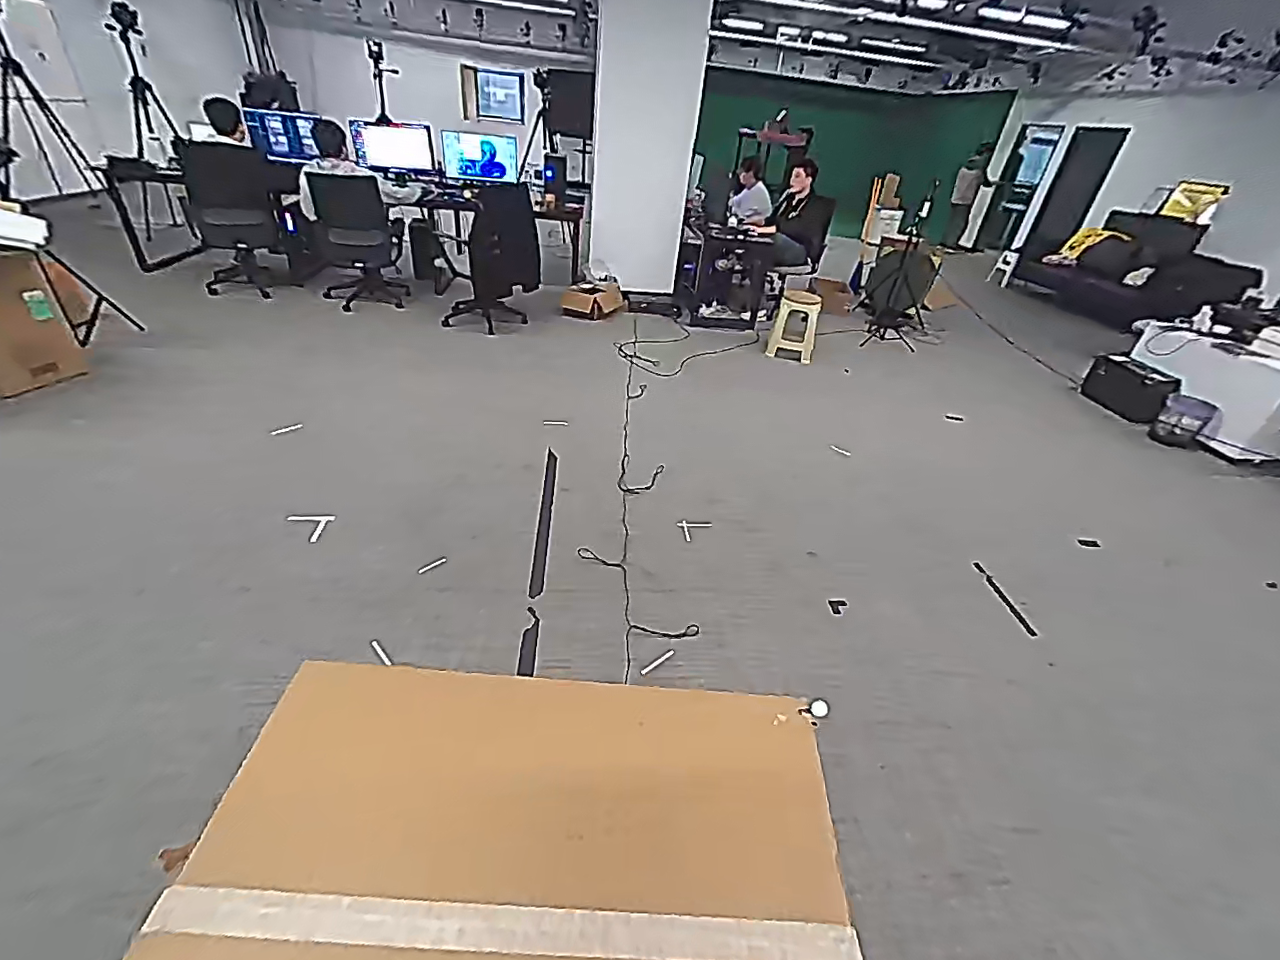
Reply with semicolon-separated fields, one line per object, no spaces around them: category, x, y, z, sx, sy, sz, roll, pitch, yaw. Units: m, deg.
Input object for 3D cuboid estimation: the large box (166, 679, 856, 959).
large box;-0.080;0.385;0.418;0.408;0.320;0.320;5;42;-2
